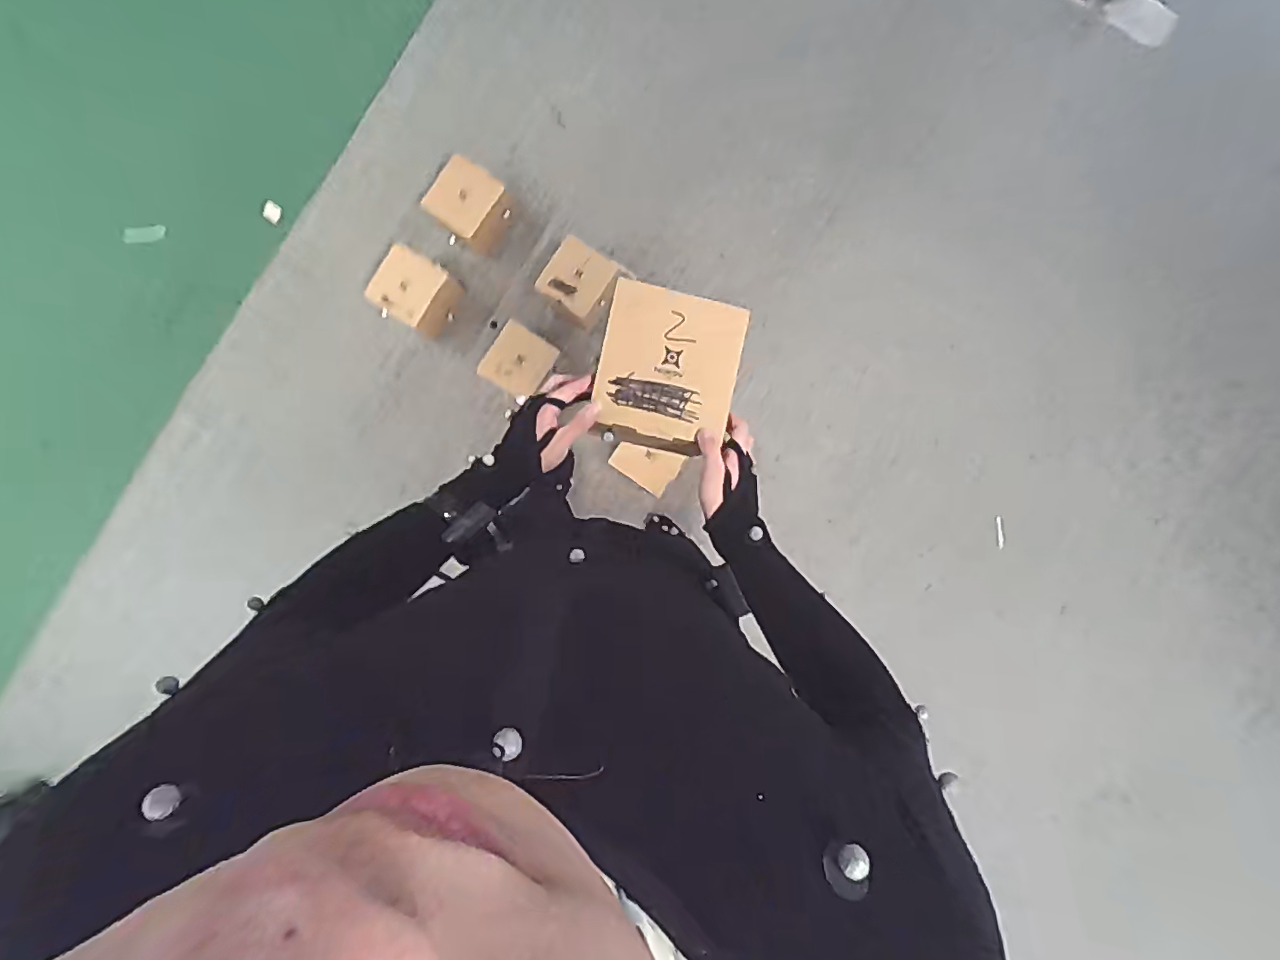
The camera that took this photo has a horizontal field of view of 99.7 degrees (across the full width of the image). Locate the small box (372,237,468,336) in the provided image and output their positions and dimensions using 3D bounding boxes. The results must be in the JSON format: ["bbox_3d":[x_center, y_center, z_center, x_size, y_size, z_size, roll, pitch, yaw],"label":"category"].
[{"bbox_3d":[-0.610,-0.539,1.532,0.168,0.176,0.179,33,90,-1],"label":"small box"}]

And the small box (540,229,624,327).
[{"bbox_3d":[-0.156,-0.564,1.536,0.168,0.176,0.179,35,91,-2],"label":"small box"}]

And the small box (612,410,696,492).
[{"bbox_3d":[0.036,-0.081,1.556,0.179,0.176,0.168,35,91,-2],"label":"small box"}]

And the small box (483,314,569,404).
[{"bbox_3d":[-0.316,-0.336,1.542,0.168,0.176,0.179,35,91,-2],"label":"small box"}]
